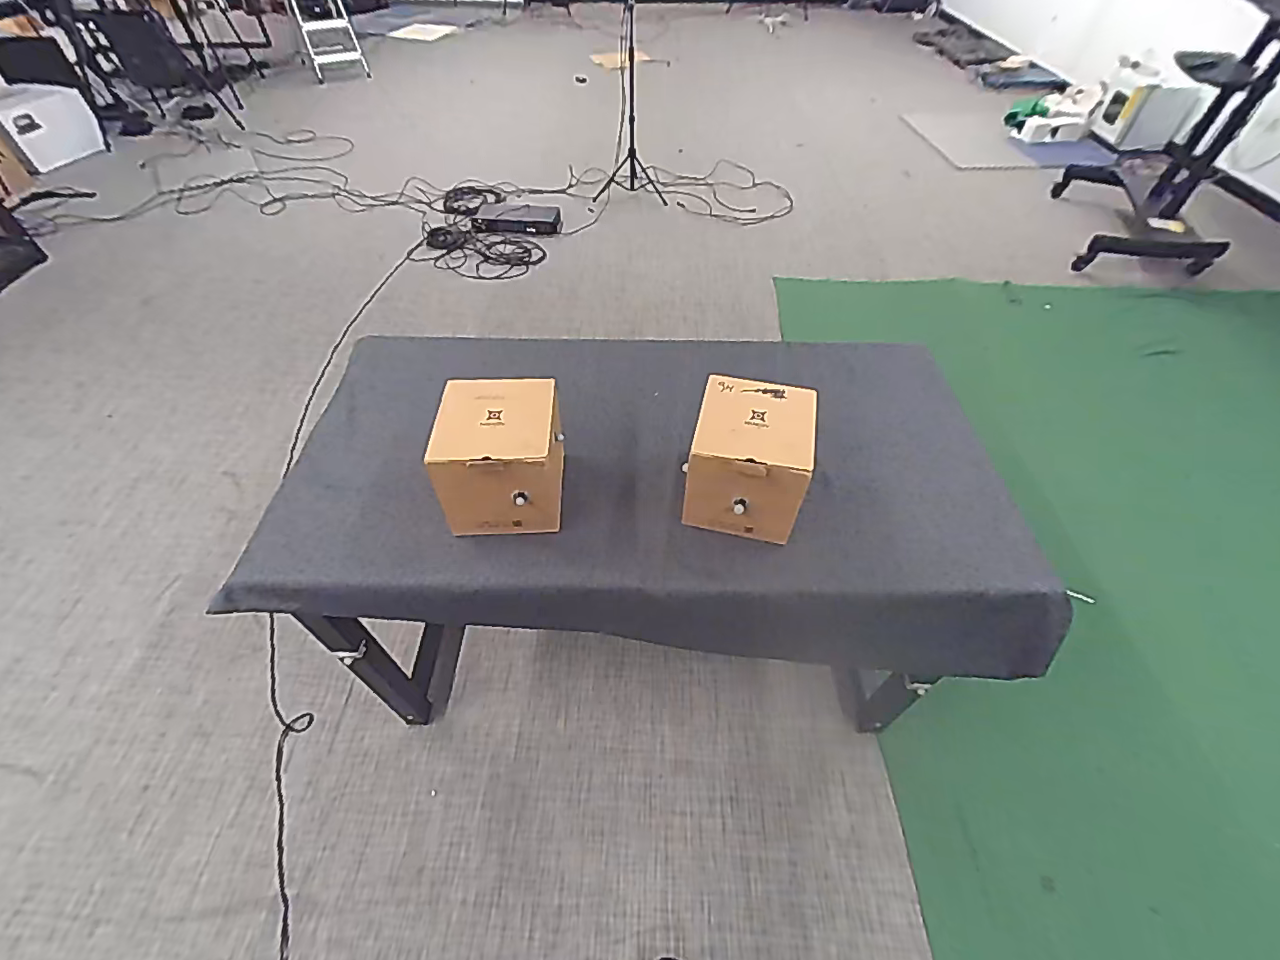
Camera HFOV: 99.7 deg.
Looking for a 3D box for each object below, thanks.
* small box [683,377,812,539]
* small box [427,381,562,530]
[{"bbox_3d":[0.163,-0.032,0.844,0.168,0.176,0.179,11,50,8],"label":"small box"},{"bbox_3d":[-0.211,-0.034,0.842,0.168,0.176,0.179,-1,47,-4],"label":"small box"}]
